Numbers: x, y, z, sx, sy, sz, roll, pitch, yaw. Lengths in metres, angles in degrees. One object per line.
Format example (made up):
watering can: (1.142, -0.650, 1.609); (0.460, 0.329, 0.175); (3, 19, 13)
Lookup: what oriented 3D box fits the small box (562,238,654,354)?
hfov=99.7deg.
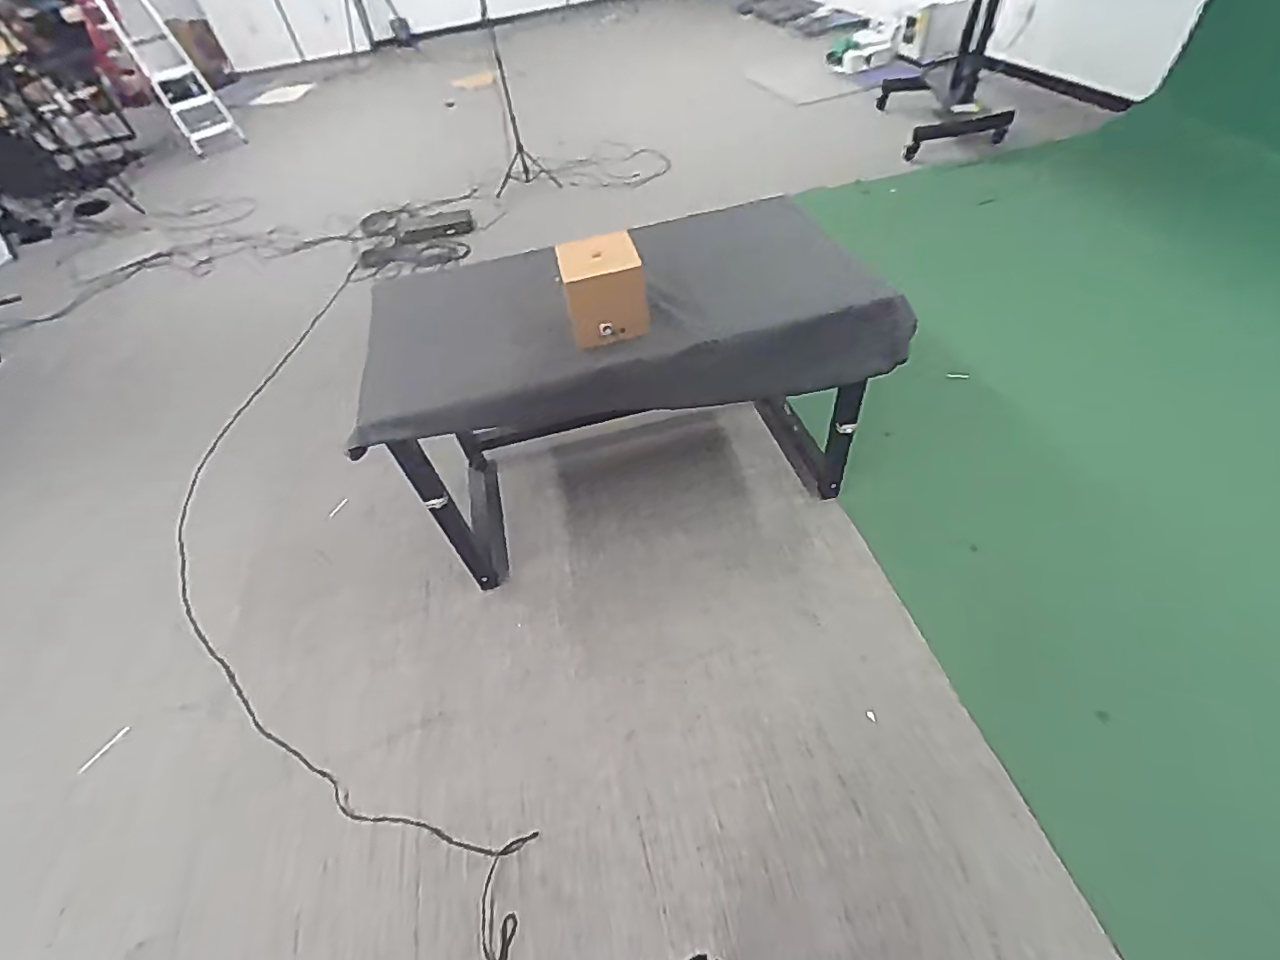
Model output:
small box: (-0.071, -0.412, 1.216); (0.168, 0.176, 0.179); (-15, 49, -2)
